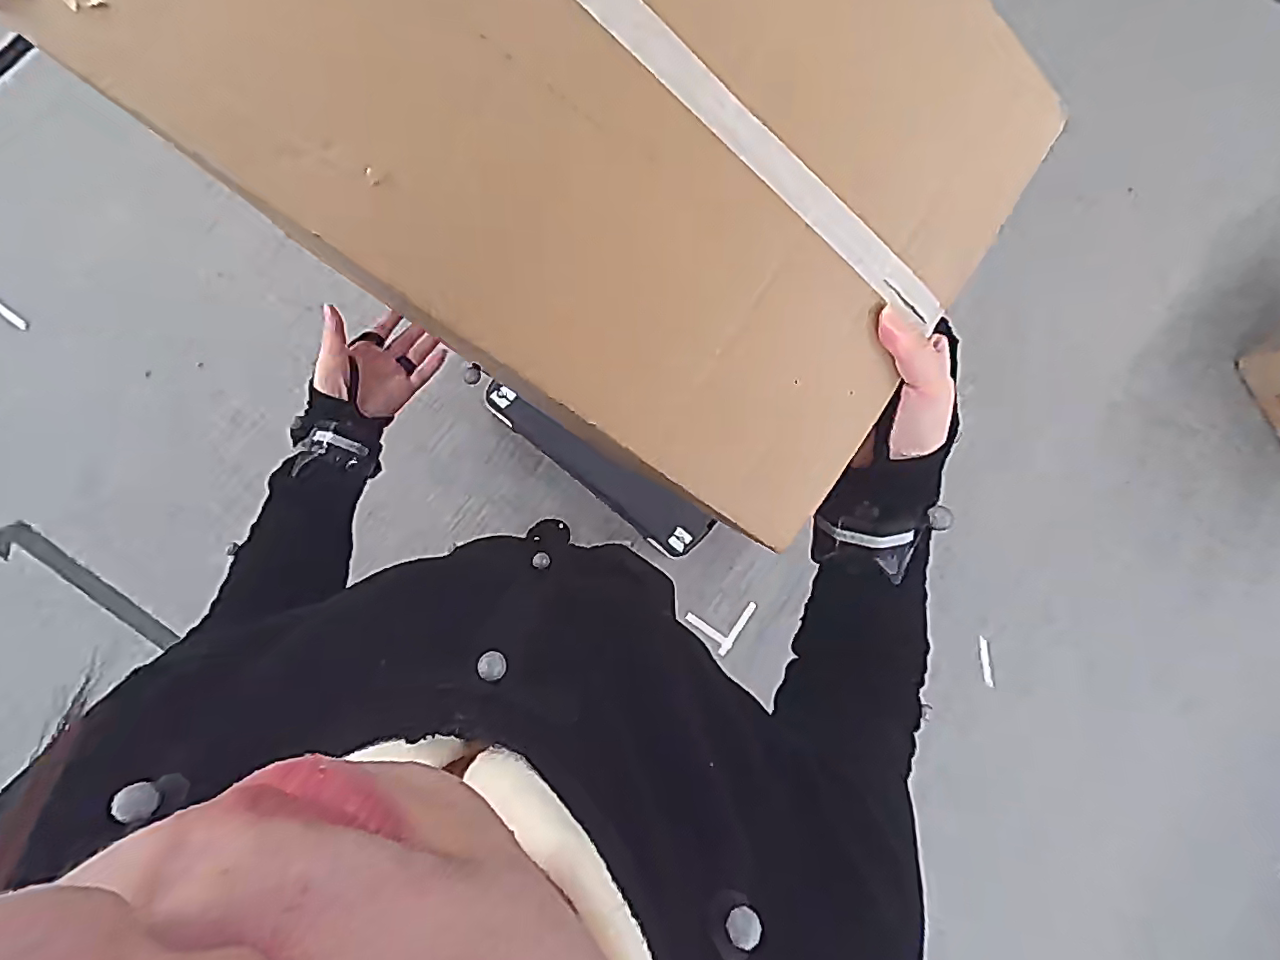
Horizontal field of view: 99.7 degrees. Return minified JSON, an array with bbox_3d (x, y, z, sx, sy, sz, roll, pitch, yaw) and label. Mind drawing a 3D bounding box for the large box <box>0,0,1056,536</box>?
[{"bbox_3d":[-0.035,-0.214,0.394,0.408,0.320,0.320,33,88,-17],"label":"large box"}]
